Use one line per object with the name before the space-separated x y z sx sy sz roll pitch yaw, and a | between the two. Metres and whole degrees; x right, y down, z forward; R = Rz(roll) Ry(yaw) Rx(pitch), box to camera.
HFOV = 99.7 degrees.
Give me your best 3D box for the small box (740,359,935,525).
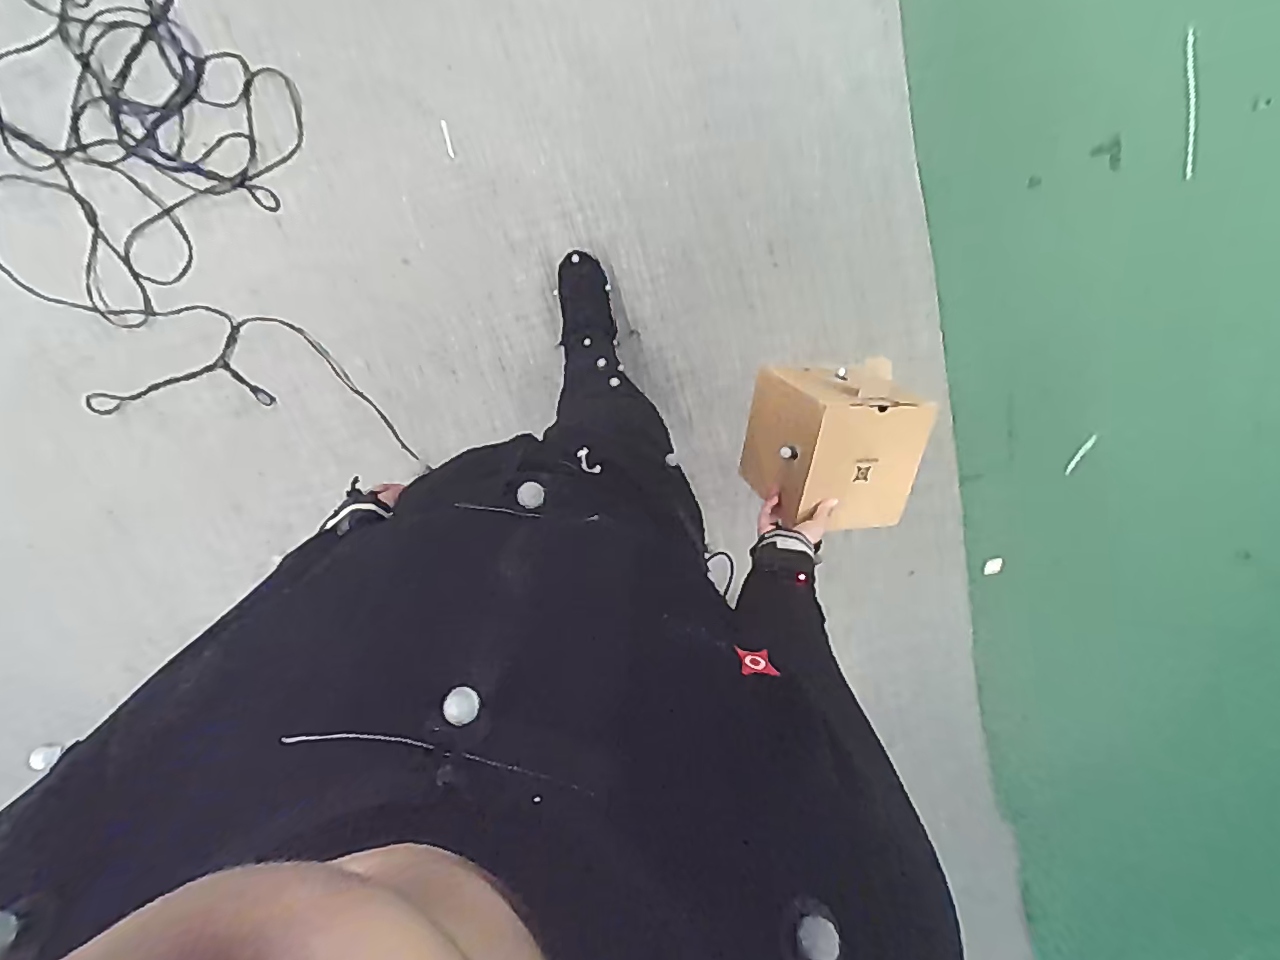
small box | 0.255 -0.057 0.744 0.168 0.176 0.179 -3 116 -18
